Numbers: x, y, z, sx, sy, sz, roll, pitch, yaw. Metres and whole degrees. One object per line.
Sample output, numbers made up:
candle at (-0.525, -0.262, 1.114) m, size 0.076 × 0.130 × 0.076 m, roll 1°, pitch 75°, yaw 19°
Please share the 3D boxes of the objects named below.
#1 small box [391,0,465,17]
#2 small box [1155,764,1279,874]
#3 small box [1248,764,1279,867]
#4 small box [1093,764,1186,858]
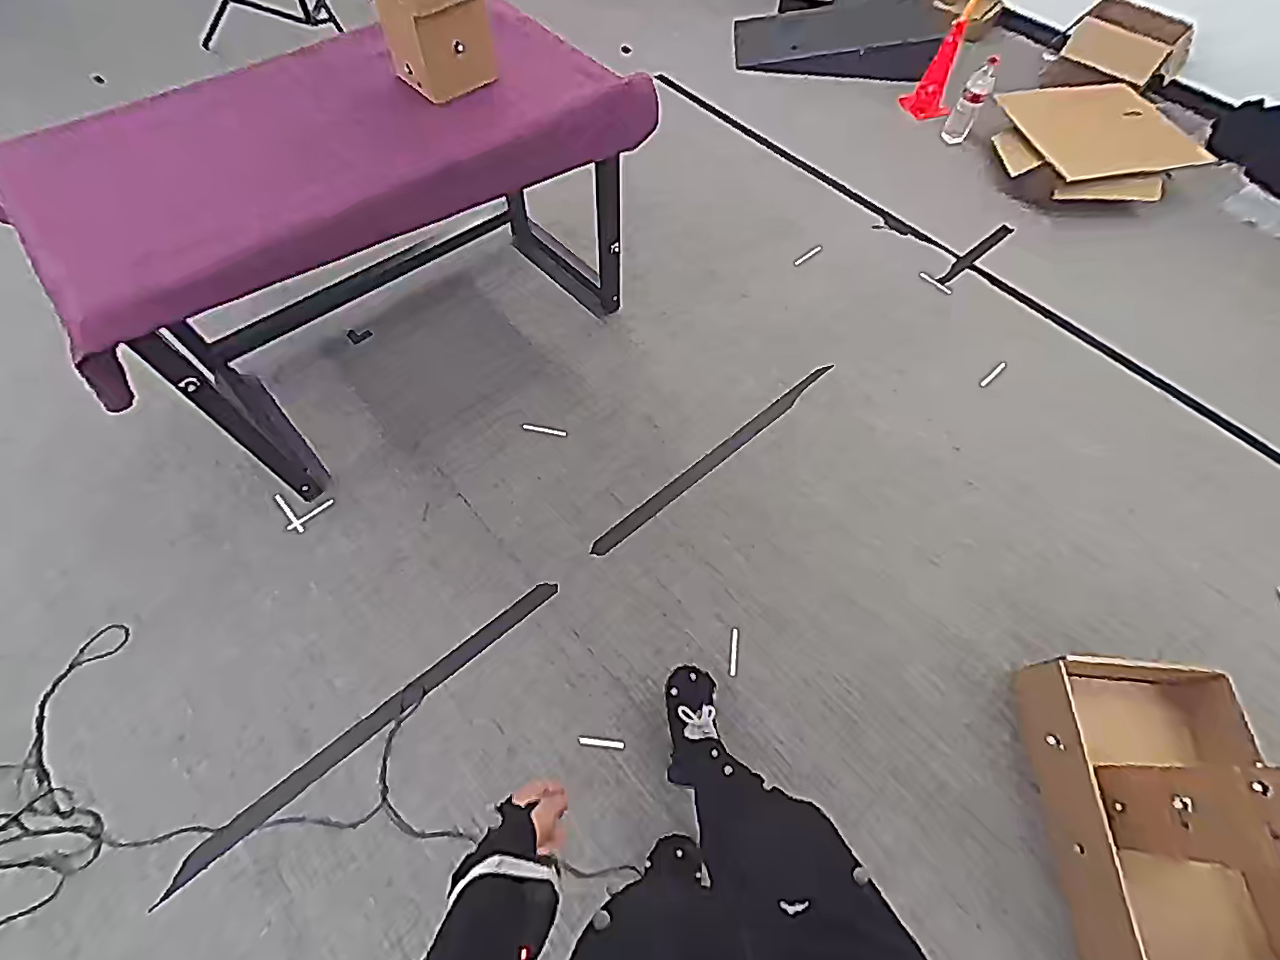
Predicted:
small box at (-0.434, -1.060, 1.060) m, size 0.168 × 0.176 × 0.179 m, roll 40°, pitch 67°, yaw 18°
small box at (1.148, 0.637, 1.016) m, size 0.179 × 0.176 × 0.168 m, roll 6°, pitch 61°, yaw 1°
small box at (1.161, 0.558, 0.872) m, size 0.179 × 0.176 × 0.168 m, roll 7°, pitch 61°, yaw -1°
small box at (1.139, 0.712, 1.159) m, size 0.179 × 0.176 × 0.168 m, roll 8°, pitch 61°, yaw 1°
